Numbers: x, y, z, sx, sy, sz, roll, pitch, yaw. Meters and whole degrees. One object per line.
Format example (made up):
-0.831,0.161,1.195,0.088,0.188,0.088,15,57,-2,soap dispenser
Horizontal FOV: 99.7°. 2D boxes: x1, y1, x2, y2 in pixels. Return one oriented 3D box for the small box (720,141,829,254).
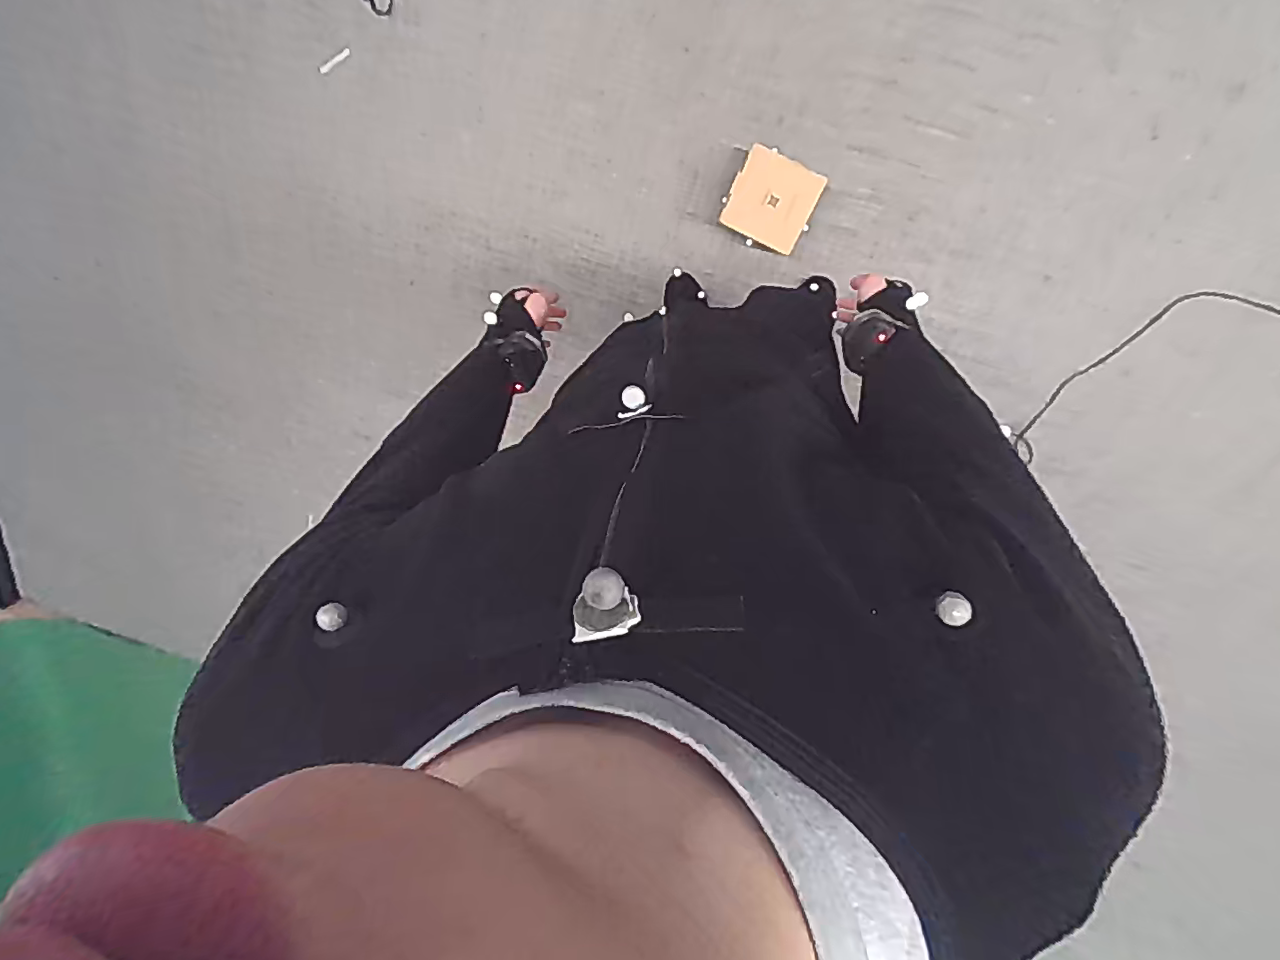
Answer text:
0.298,-0.629,1.221,0.179,0.176,0.168,26,117,-1,small box
